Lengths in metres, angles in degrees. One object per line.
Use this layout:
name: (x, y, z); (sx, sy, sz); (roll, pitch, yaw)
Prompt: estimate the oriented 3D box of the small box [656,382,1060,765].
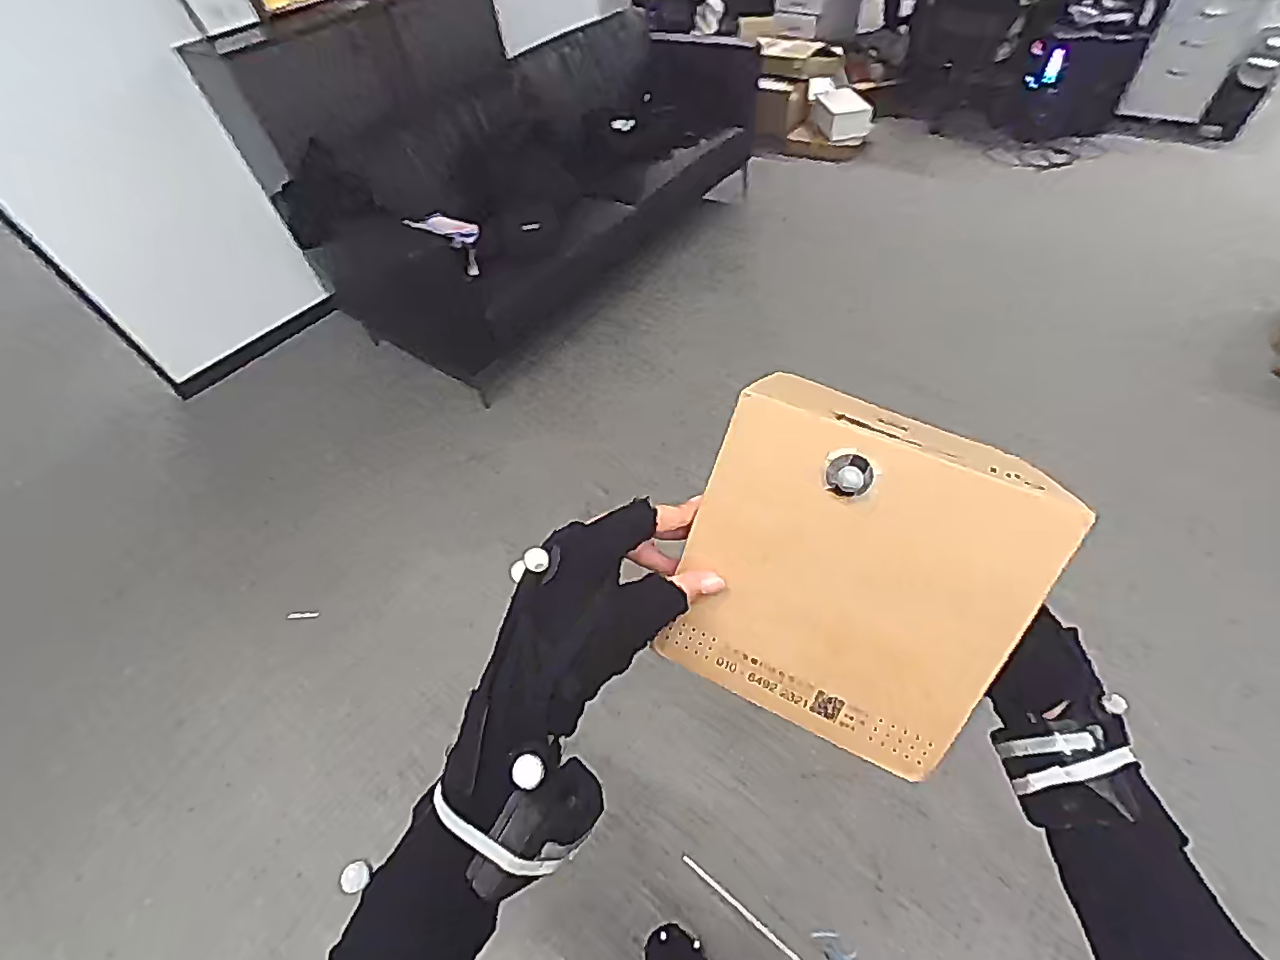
small box: (0.126, 0.042, 0.368); (0.168, 0.176, 0.179); (21, 19, 15)
